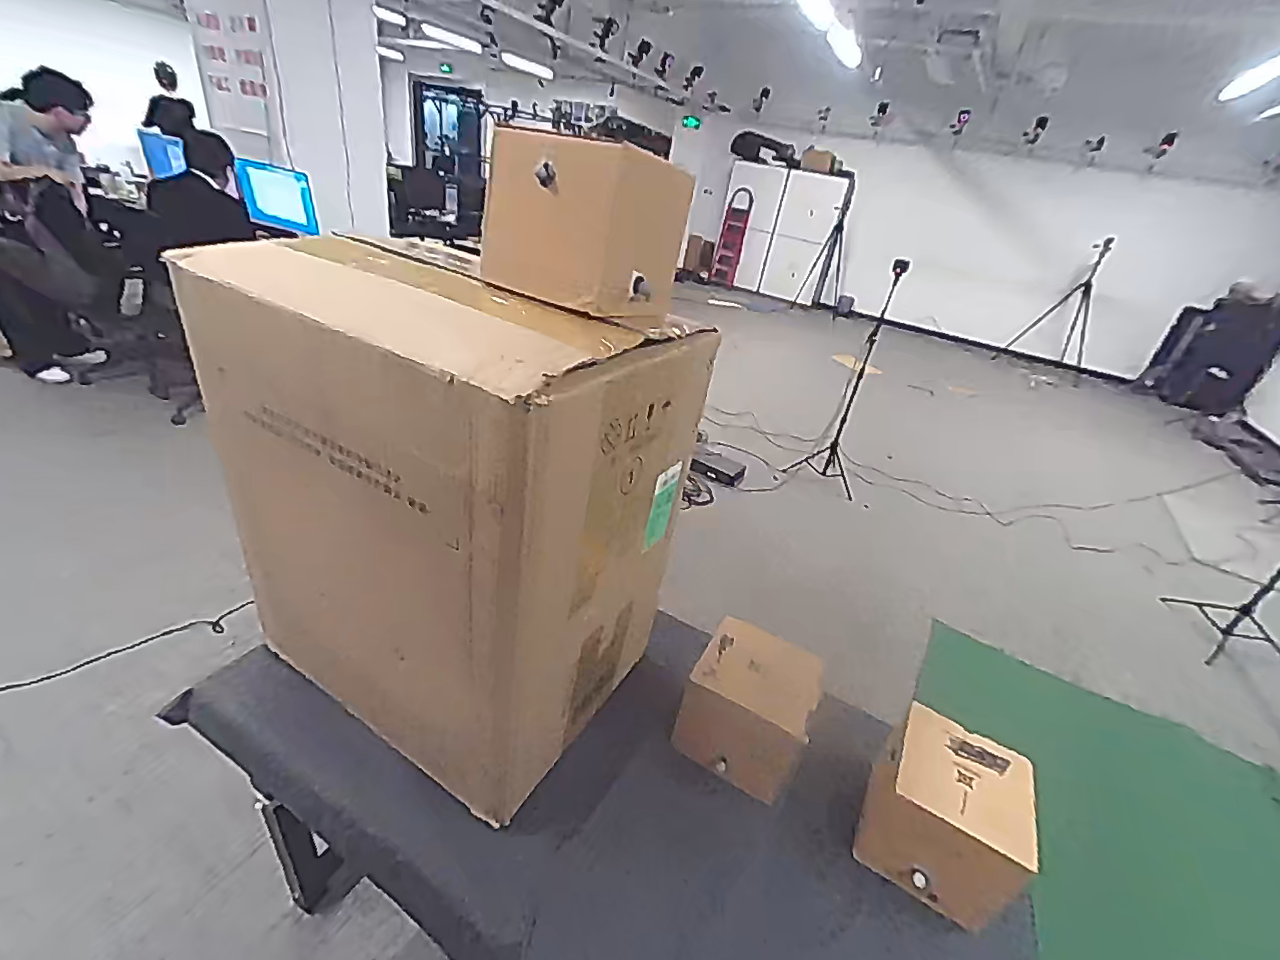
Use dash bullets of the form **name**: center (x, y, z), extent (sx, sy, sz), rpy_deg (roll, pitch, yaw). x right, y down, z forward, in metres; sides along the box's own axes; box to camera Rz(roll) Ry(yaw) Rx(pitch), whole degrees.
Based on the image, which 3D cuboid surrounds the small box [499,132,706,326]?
- **small box**: center (-0.049, -0.291, 0.651), extent (0.179, 0.176, 0.168), rpy_deg (25, 27, 22)

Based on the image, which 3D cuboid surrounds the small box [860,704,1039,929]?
- **small box**: center (0.433, 0.472, 0.771), extent (0.168, 0.176, 0.179), rpy_deg (23, 33, 23)
